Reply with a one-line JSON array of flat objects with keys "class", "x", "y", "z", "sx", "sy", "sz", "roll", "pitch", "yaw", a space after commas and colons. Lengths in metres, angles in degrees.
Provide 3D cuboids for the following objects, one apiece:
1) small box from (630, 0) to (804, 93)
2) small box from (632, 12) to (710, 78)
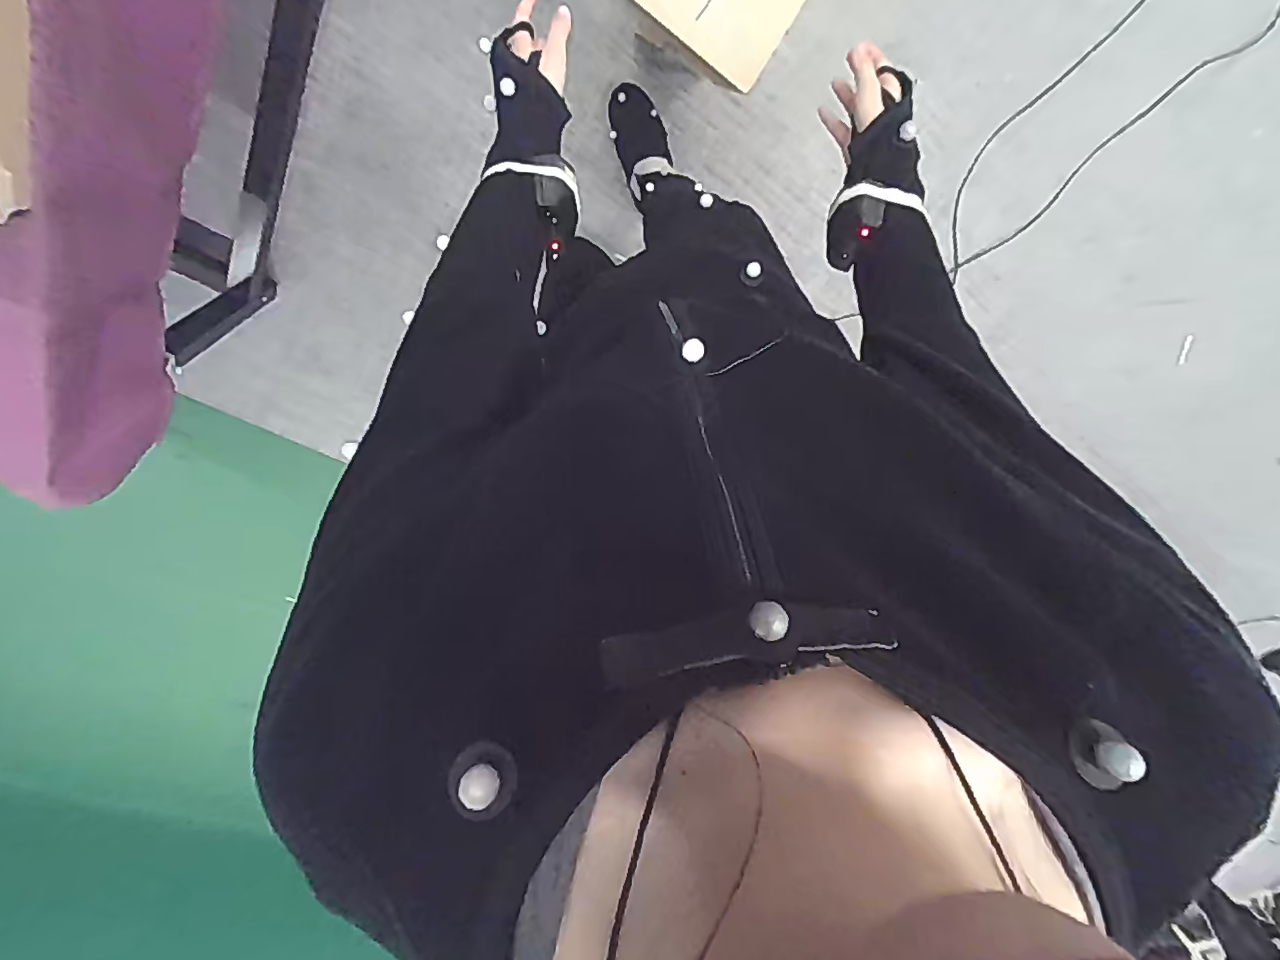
[{"class": "small box", "x": 0.094, "y": -0.566, "z": 0.587, "sx": 0.168, "sy": 0.176, "sz": 0.179, "roll": 27, "pitch": 124, "yaw": -20}, {"class": "small box", "x": 0.098, "y": -0.869, "z": 0.977, "sx": 0.168, "sy": 0.176, "sz": 0.179, "roll": 22, "pitch": 125, "yaw": -18}]
